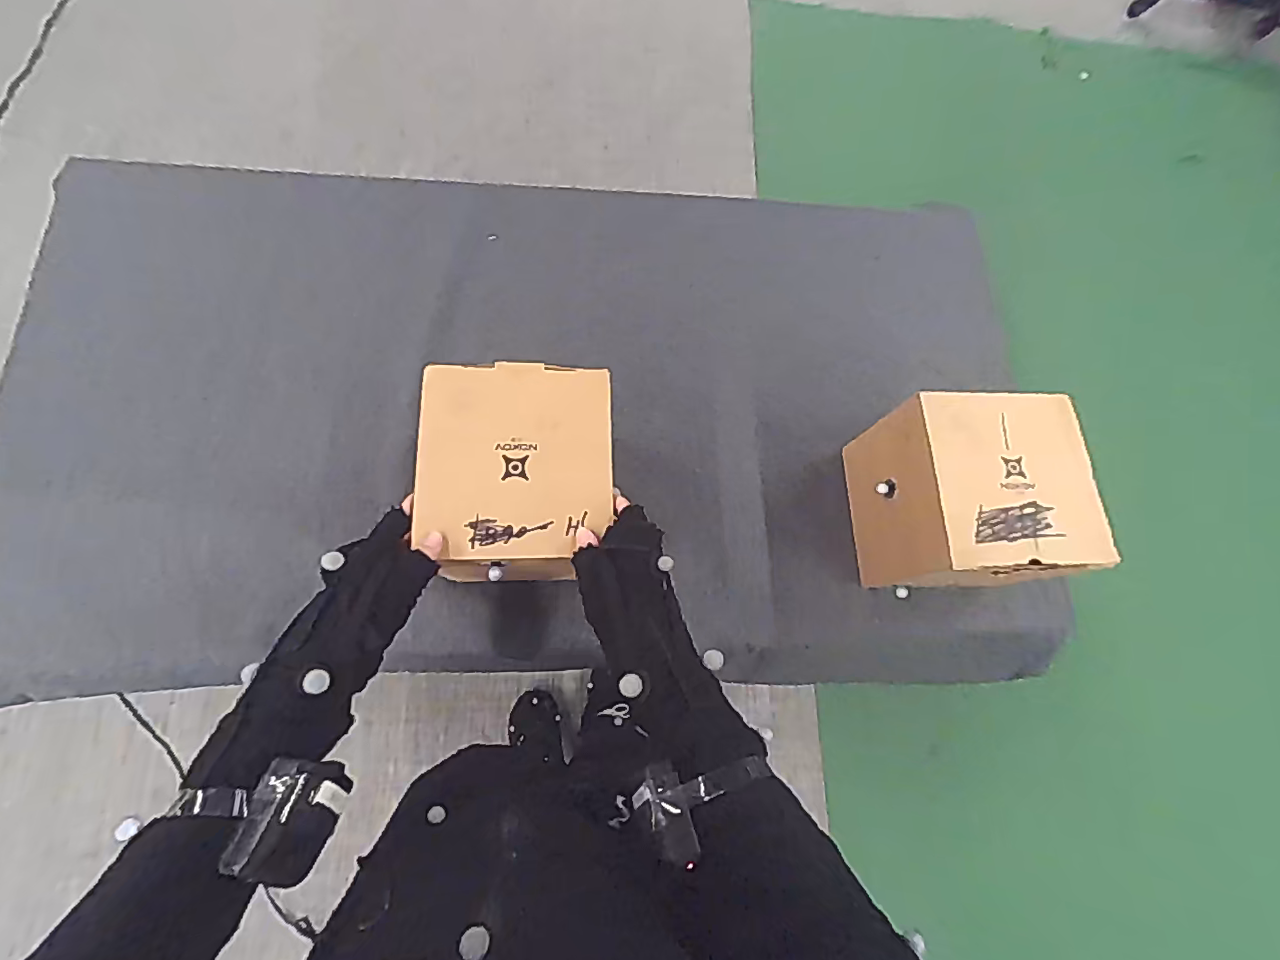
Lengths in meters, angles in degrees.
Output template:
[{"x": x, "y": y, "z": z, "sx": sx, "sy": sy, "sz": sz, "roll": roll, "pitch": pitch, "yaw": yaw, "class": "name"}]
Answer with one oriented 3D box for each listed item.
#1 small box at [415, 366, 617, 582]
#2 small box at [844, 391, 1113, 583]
[{"x": -0.112, "y": 0.005, "z": 0.541, "sx": 0.168, "sy": 0.176, "sz": 0.179, "roll": 0, "pitch": 75, "yaw": -7, "class": "small box"}, {"x": 0.345, "y": 0.019, "z": 0.589, "sx": 0.168, "sy": 0.176, "sz": 0.179, "roll": 0, "pitch": 72, "yaw": -6, "class": "small box"}]
